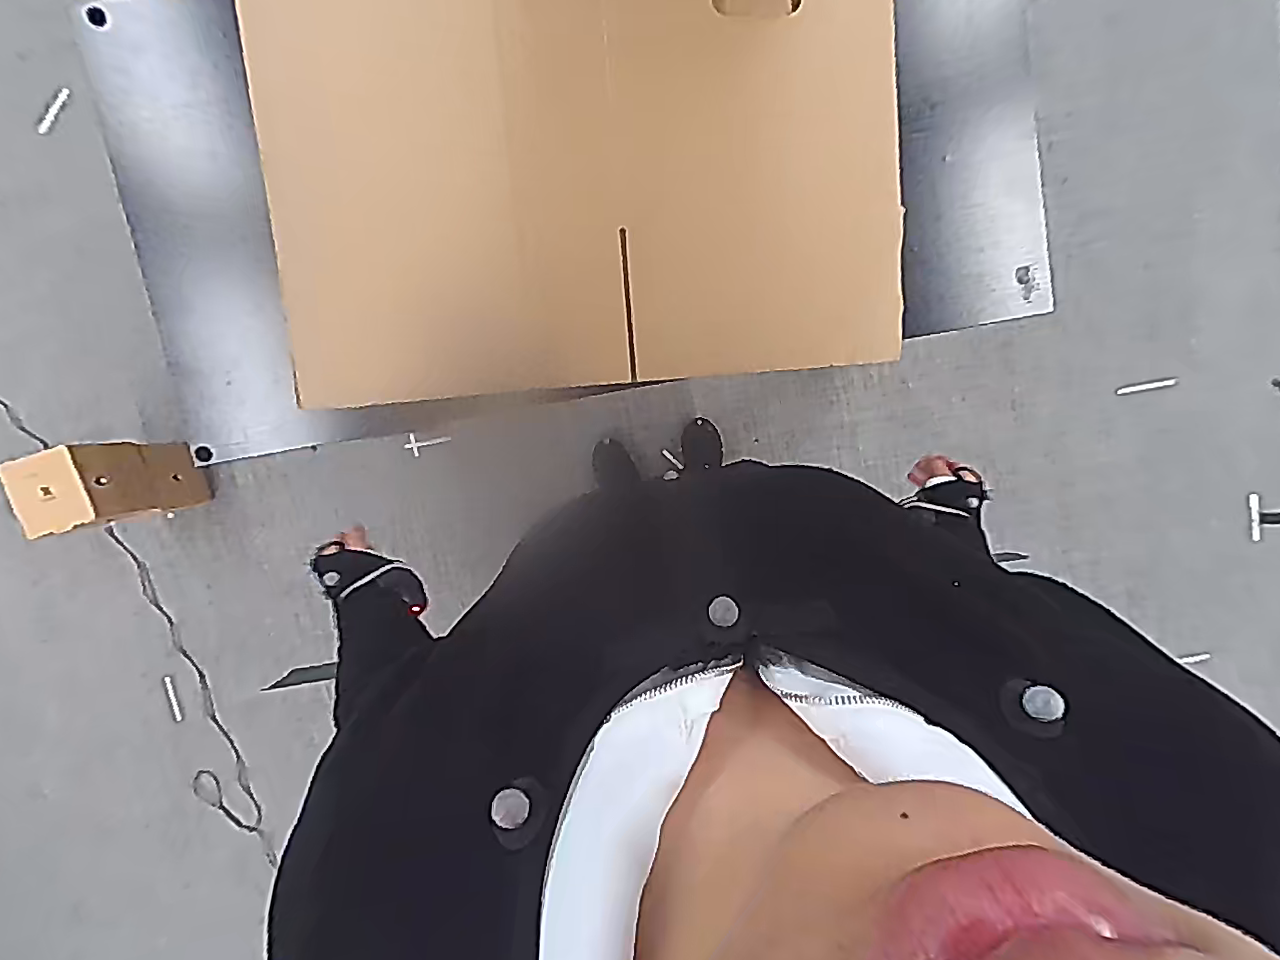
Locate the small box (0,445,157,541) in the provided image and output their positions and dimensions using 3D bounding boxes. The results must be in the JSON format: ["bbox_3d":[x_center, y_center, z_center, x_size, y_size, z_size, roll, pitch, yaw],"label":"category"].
[{"bbox_3d":[-1.291,0.023,1.258,0.168,0.176,0.179,-17,95,1],"label":"small box"}]

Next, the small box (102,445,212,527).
[{"bbox_3d":[-1.287,0.009,1.420,0.168,0.176,0.179,-14,97,2],"label":"small box"}]
